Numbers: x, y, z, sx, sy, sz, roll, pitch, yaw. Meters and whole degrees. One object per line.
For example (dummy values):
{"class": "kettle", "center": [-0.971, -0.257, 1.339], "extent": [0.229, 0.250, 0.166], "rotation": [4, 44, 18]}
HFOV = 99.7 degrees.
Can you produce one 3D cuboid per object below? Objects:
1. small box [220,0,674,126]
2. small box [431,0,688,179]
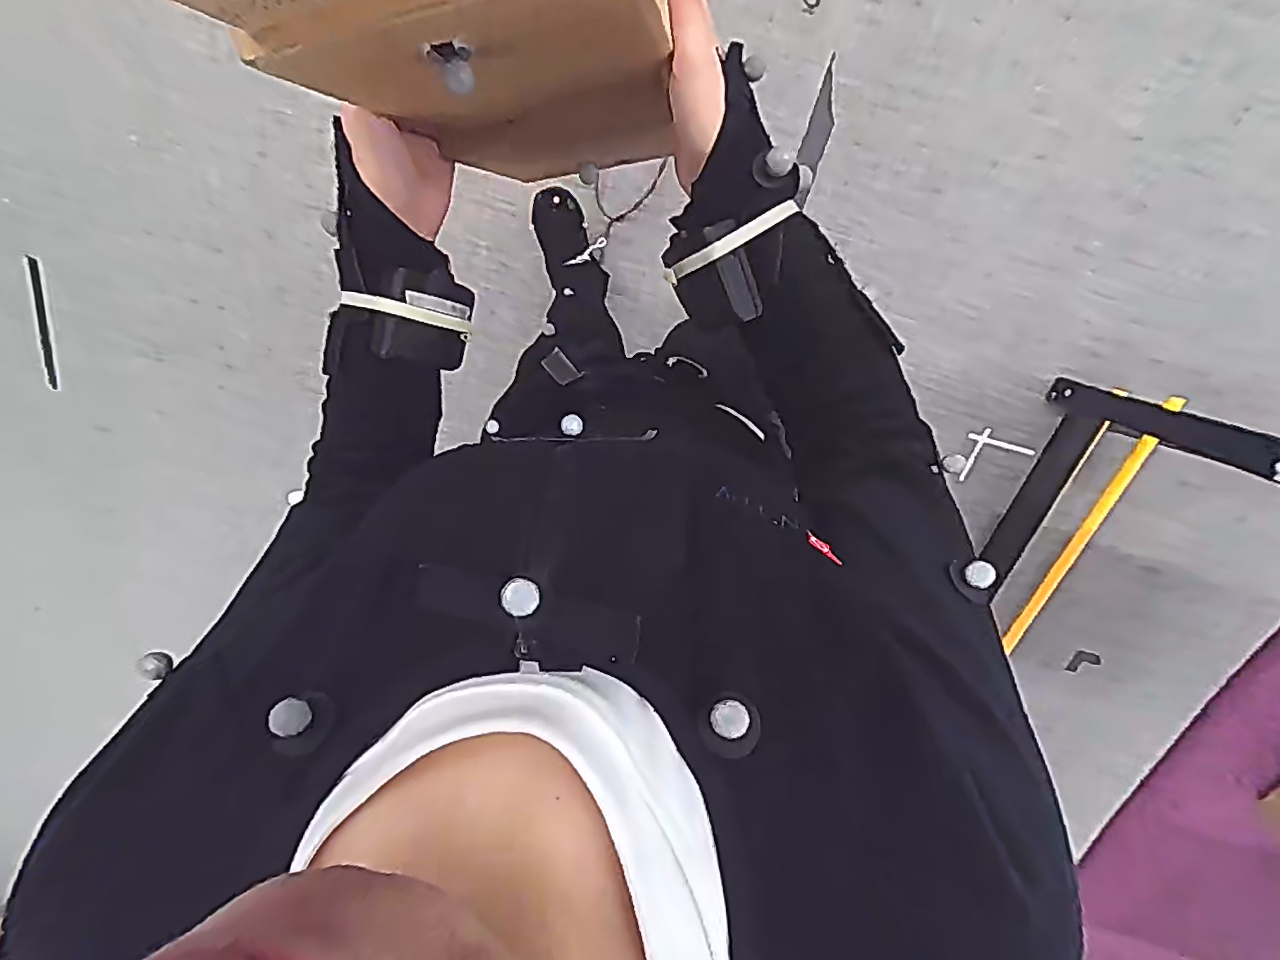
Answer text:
{"class": "small box", "center": [-0.082, -0.288, 0.251], "extent": [0.179, 0.176, 0.168], "rotation": [-4, 112, 13]}
{"class": "small box", "center": [-0.058, -0.342, 0.402], "extent": [0.168, 0.176, 0.179], "rotation": [-3, 113, 12]}
